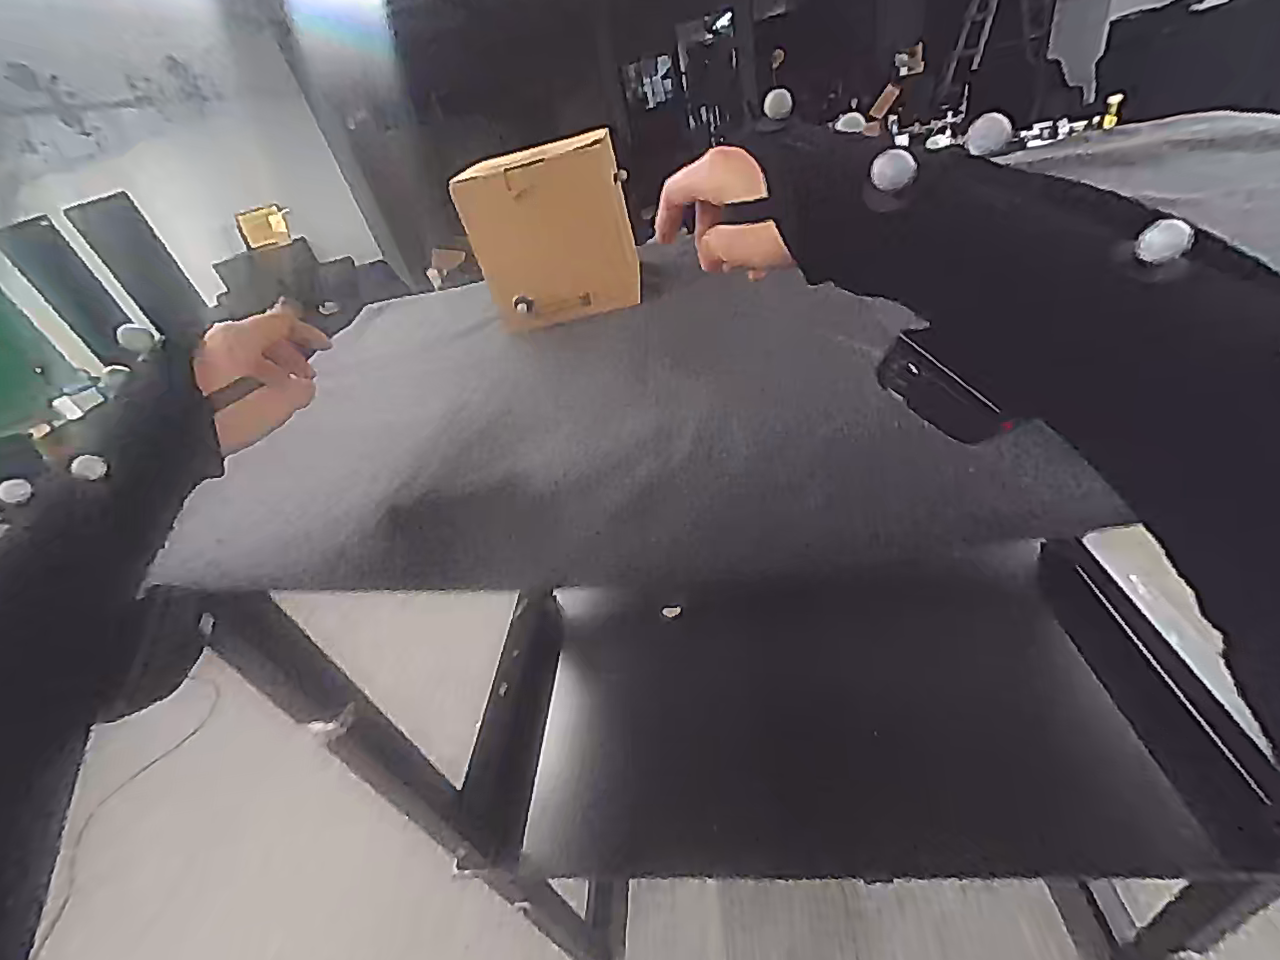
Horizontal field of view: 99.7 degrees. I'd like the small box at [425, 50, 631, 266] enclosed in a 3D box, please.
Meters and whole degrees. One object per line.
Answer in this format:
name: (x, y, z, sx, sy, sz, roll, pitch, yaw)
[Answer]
small box: (-0.108, -0.358, 0.612, 0.168, 0.176, 0.179, -10, 36, 7)
